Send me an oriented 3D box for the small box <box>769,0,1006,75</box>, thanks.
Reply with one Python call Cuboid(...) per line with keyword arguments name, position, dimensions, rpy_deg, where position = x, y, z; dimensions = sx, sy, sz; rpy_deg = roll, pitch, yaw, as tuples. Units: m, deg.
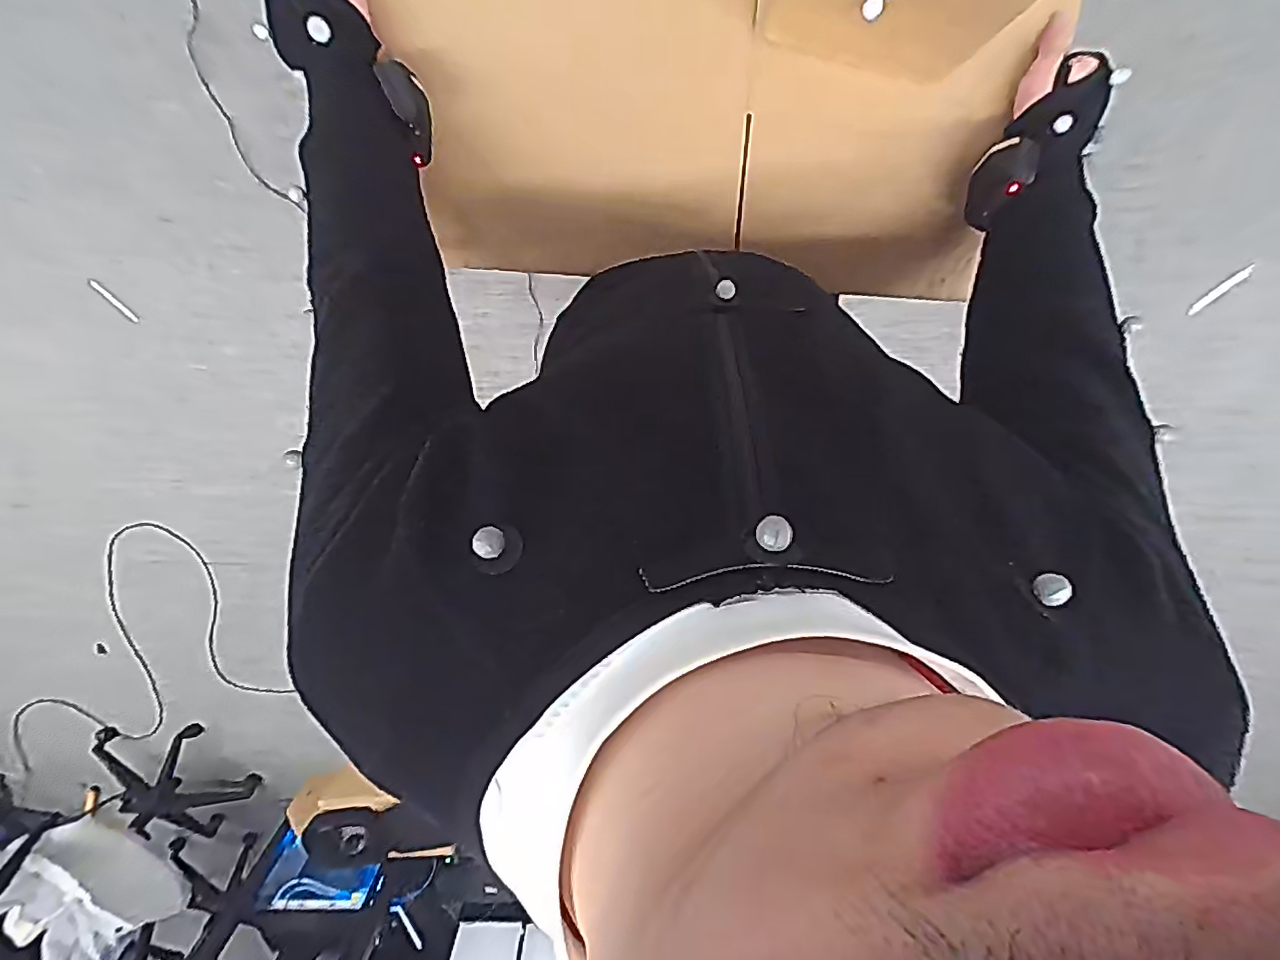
Cuboid(name="small box", position=(0.216, -0.457, 0.419), dimensions=(0.179, 0.176, 0.168), rpy_deg=(13, 105, -3))
